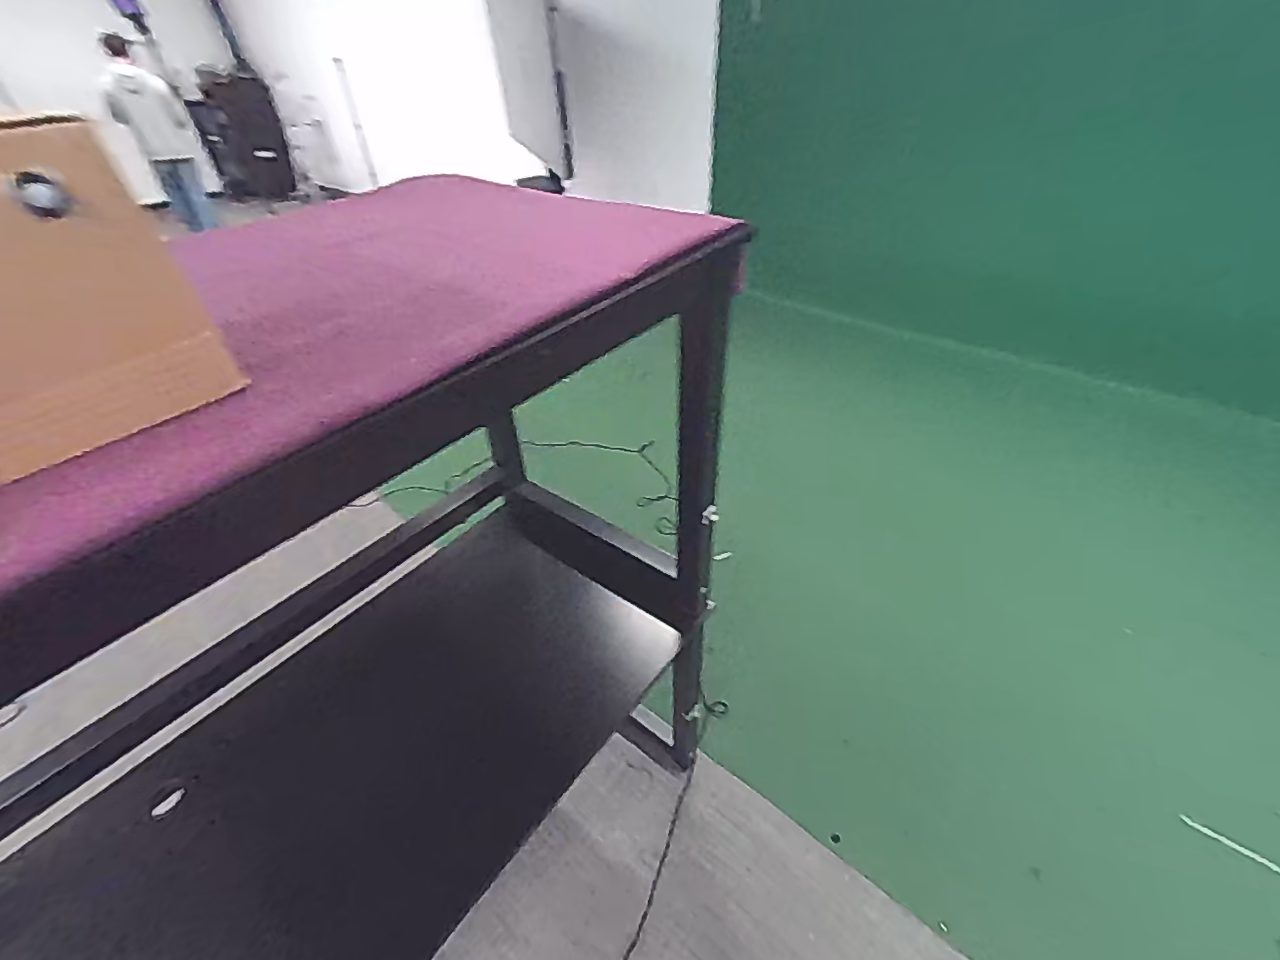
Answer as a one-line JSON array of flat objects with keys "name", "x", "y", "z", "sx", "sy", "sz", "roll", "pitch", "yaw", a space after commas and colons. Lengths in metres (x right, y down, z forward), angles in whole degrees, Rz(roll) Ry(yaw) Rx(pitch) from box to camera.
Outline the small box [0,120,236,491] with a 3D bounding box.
[{"name": "small box", "x": -0.405, "y": -0.106, "z": 0.328, "sx": 0.168, "sy": 0.176, "sz": 0.179, "roll": 24, "pitch": 47, "yaw": 30}]
